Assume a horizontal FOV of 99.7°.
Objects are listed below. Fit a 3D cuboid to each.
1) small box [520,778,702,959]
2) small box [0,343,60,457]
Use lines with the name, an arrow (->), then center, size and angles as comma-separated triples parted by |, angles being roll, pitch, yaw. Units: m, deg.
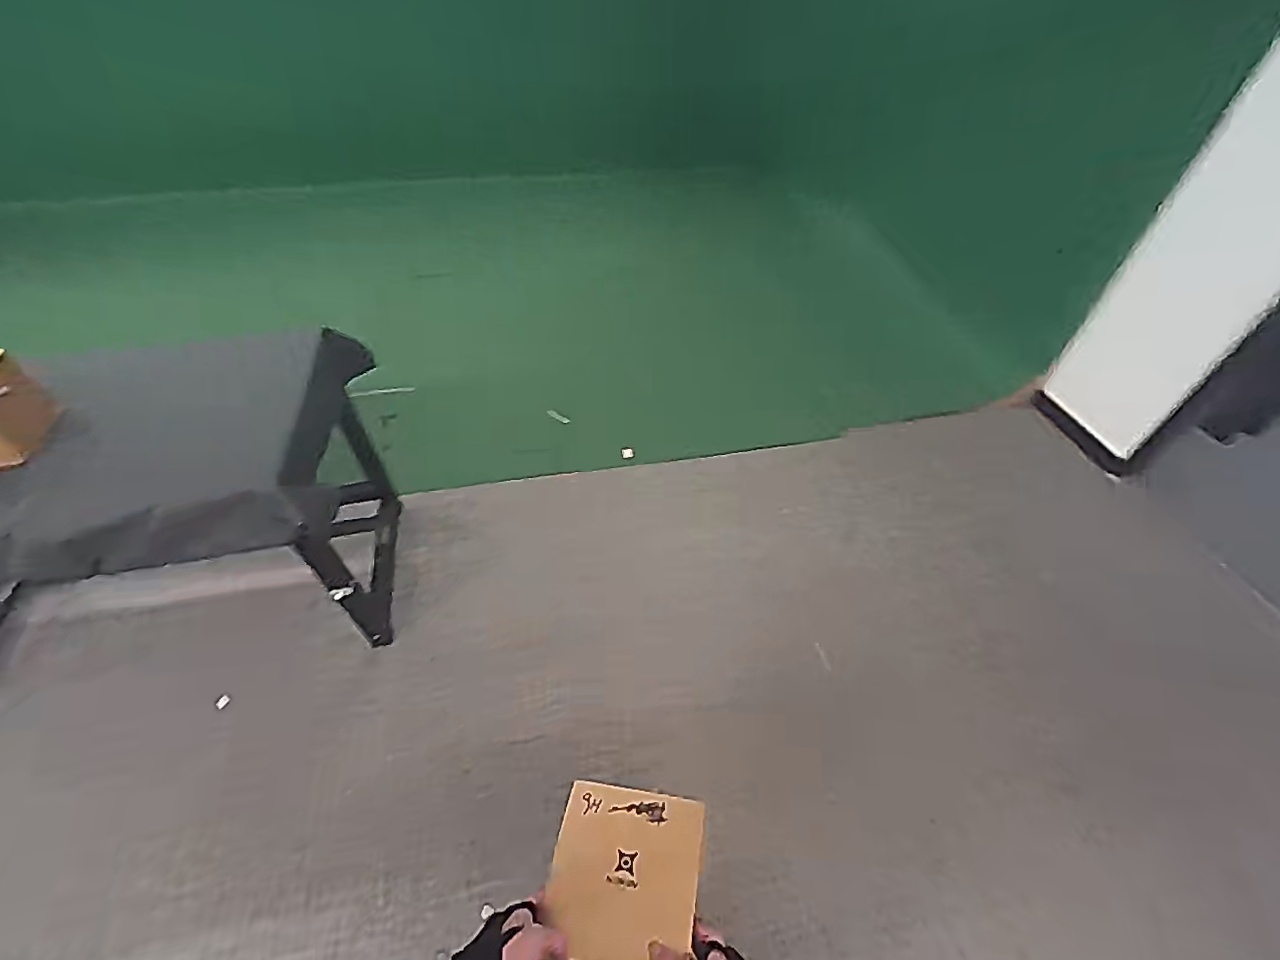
small box -> -0.017, 0.486, 0.628 | 0.168, 0.176, 0.179 | 4, 37, 11
small box -> -1.359, -0.153, 1.098 | 0.168, 0.176, 0.179 | -9, 47, -11
